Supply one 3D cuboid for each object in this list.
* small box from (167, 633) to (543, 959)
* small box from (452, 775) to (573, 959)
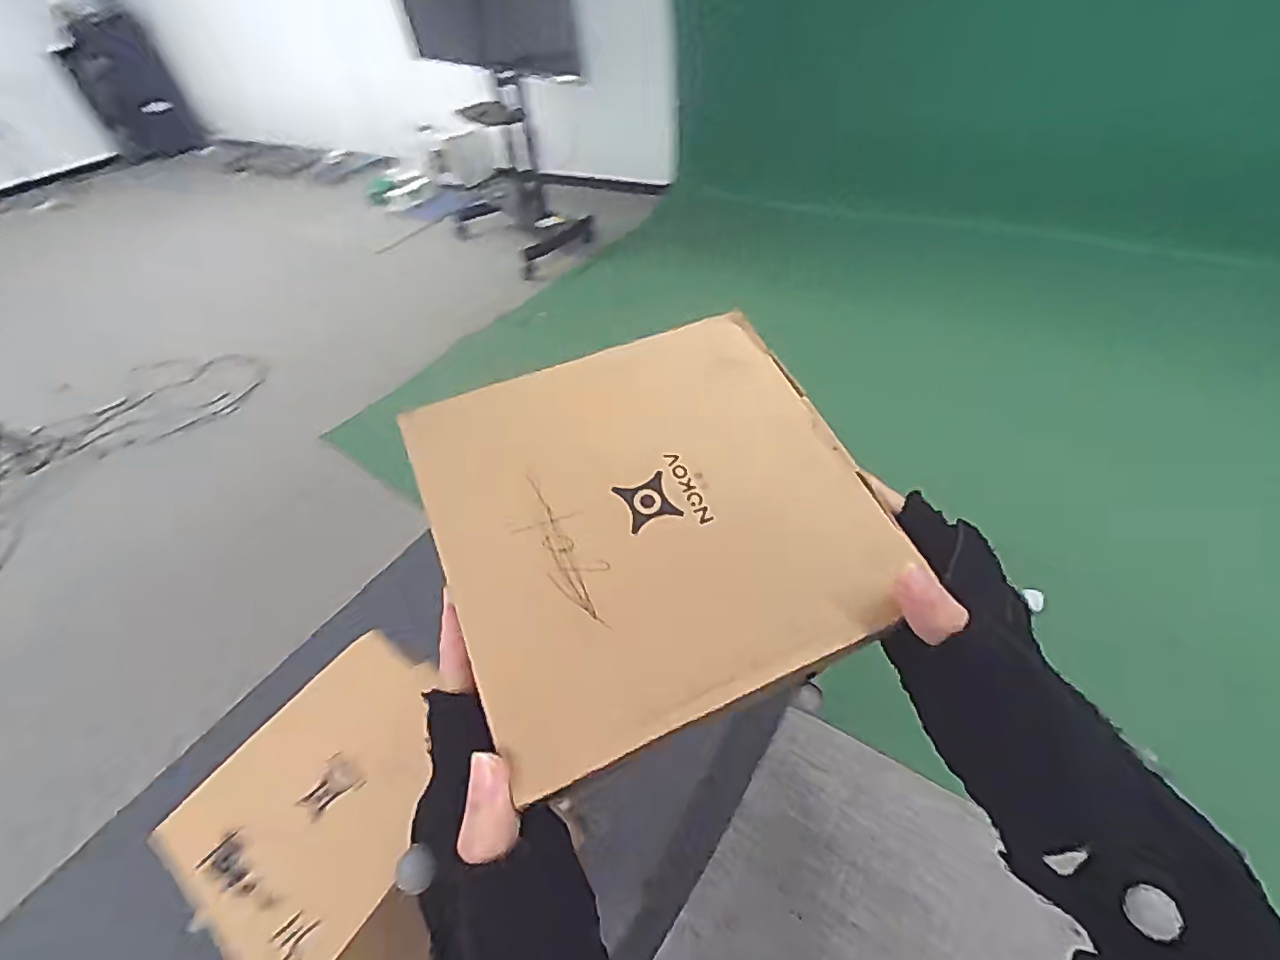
[{"bbox_3d":[-0.195,0.264,0.425,0.168,0.176,0.179,23,52,28],"label":"small box"},{"bbox_3d":[-0.184,0.374,0.546,0.168,0.176,0.179,22,53,27],"label":"small box"}]
